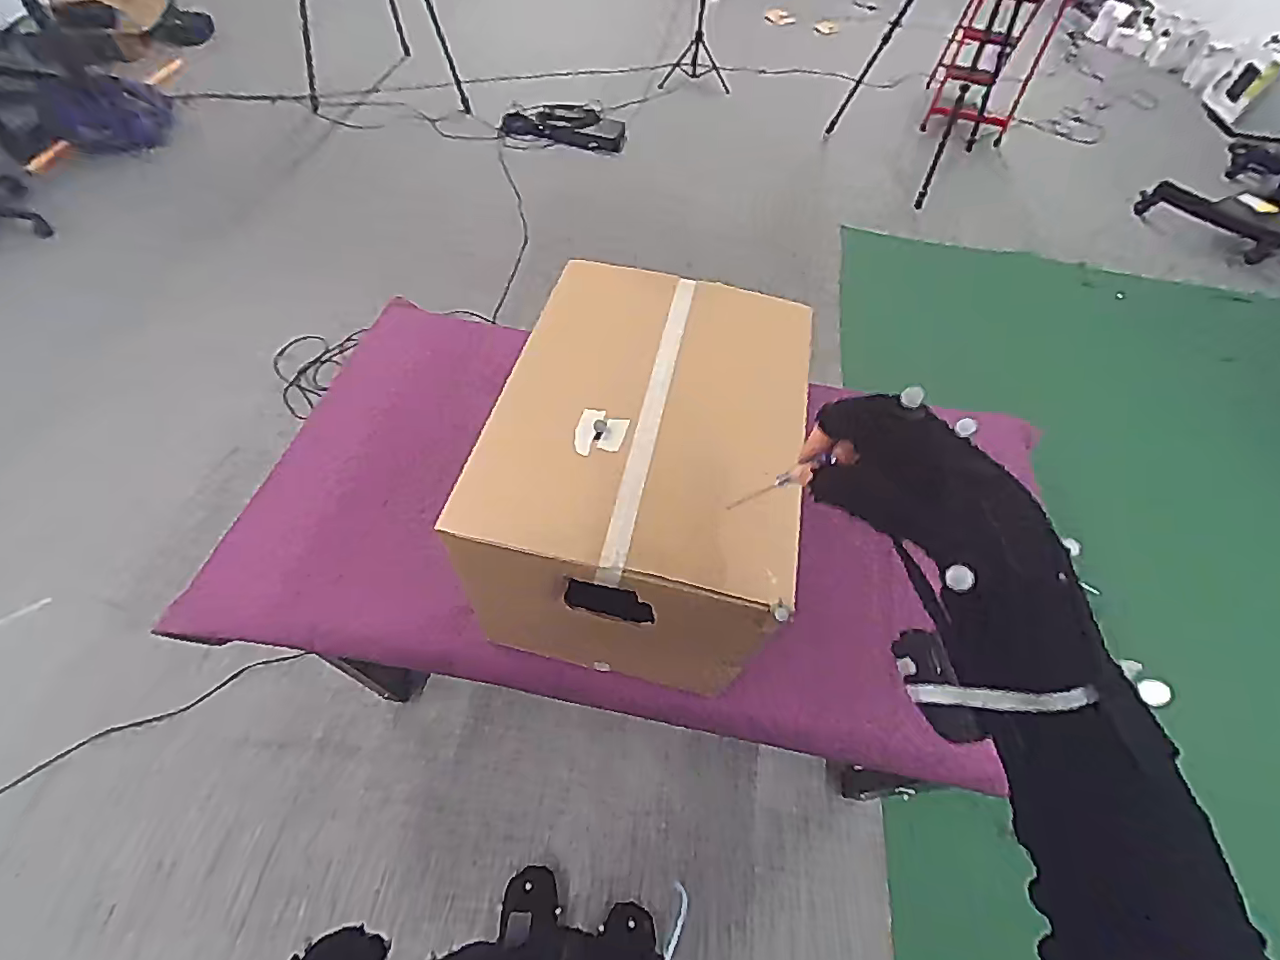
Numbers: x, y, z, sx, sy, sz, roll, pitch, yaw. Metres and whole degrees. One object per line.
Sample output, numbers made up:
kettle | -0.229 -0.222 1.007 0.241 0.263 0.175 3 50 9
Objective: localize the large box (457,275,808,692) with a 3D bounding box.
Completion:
large box | 0.010 0.009 0.707 0.320 0.320 0.408 13 57 4
